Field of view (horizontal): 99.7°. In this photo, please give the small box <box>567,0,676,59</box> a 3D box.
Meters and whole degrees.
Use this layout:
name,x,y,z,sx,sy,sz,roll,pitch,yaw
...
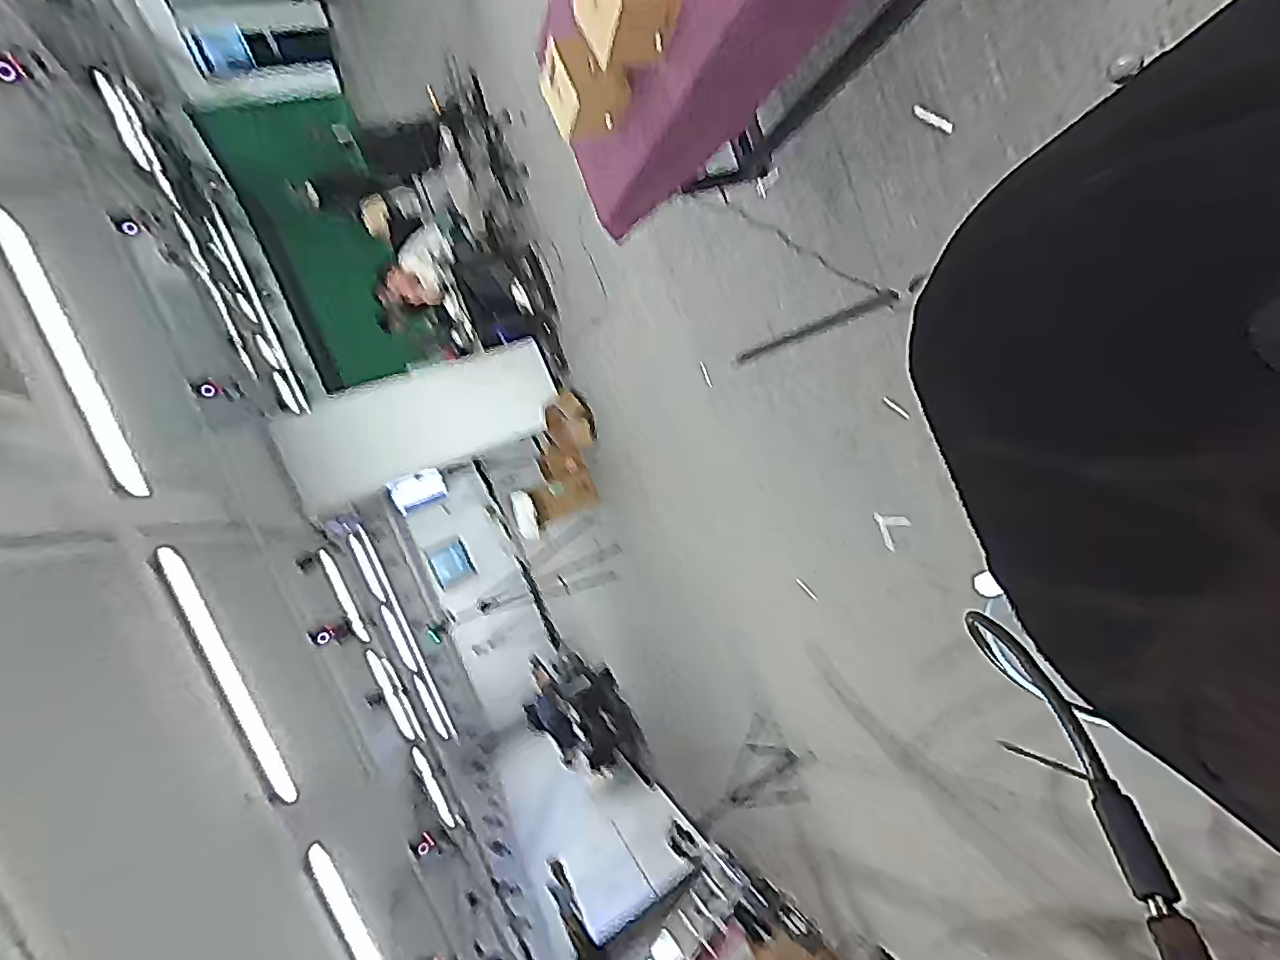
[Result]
name,x,y,z,sx,sy,sz,roll,pitch,yaw
small box,-0.043,-1.095,1.213,0.179,0.176,0.168,65,160,3

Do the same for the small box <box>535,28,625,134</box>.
name,x,y,z,sx,sy,sz,roll,pitch,yaw
small box,-0.166,-1.101,1.493,0.179,0.176,0.168,66,159,-3
